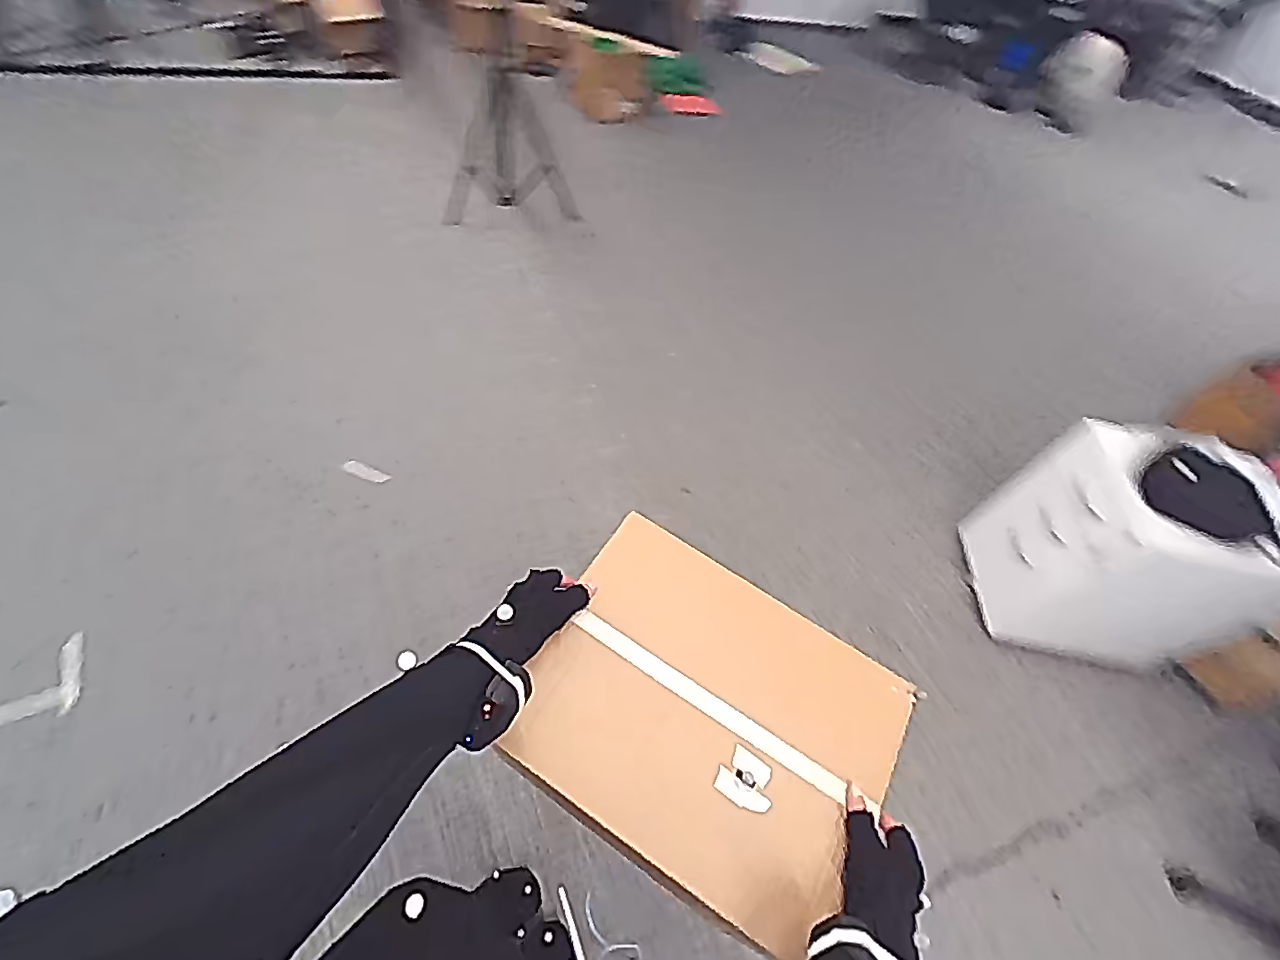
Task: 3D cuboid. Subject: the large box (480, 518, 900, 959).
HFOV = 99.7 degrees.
[{"bbox_3d":[0.051,0.325,0.736,0.408,0.320,0.320,31,60,10],"label":"large box"}]
